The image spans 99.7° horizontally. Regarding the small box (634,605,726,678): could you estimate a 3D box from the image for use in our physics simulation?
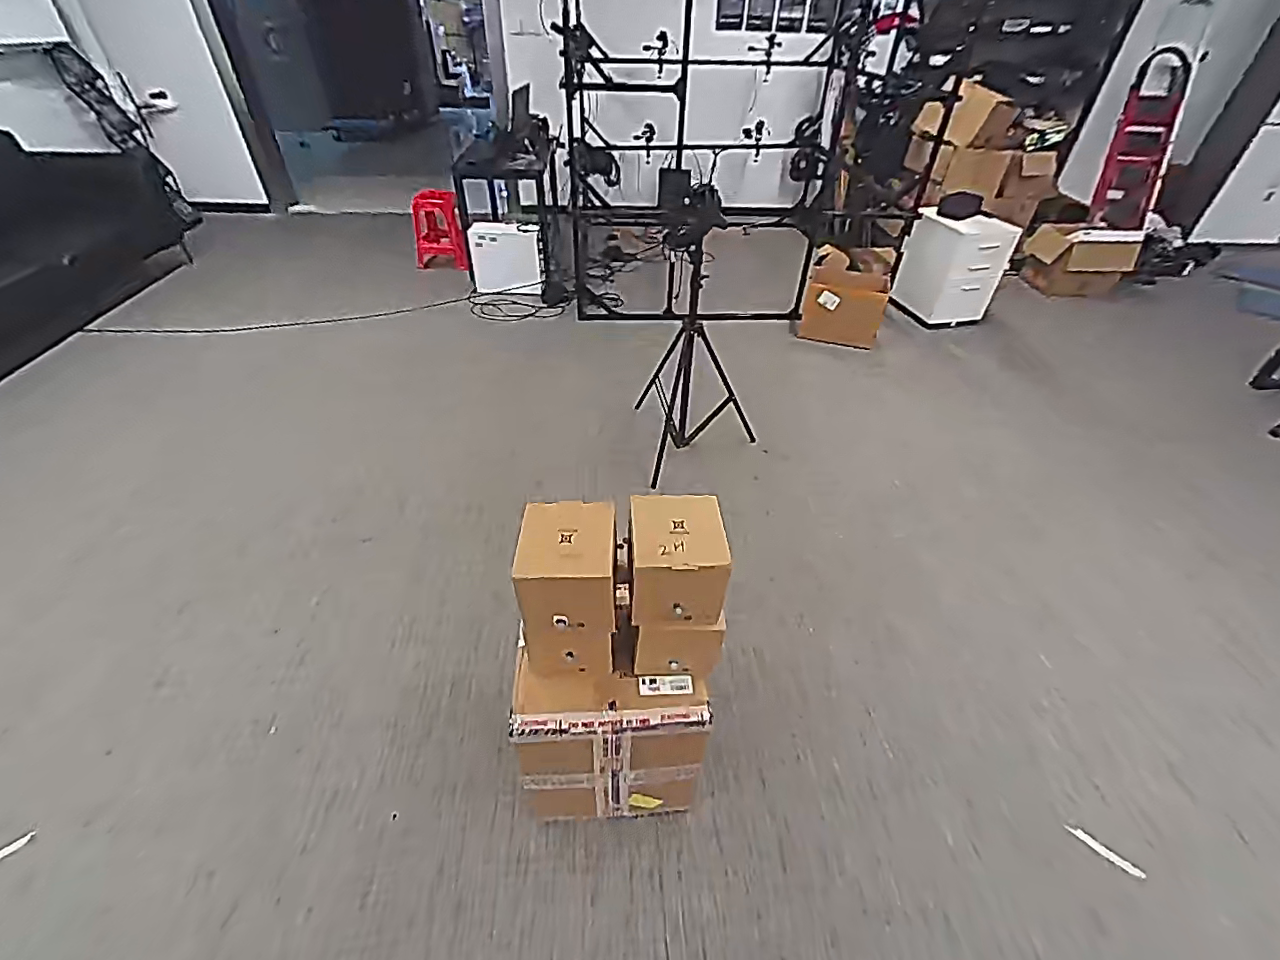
[{"bbox_3d":[0.073,0.284,1.110,0.168,0.176,0.179,1,42,-3],"label":"small box"}]

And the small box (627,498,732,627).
[{"bbox_3d":[0.064,0.153,1.009,0.168,0.176,0.179,-1,42,-5],"label":"small box"}]

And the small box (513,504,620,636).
[{"bbox_3d":[-0.124,0.164,0.988,0.168,0.176,0.179,-2,43,0],"label":"small box"}]

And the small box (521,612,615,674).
[{"bbox_3d":[-0.136,0.281,1.102,0.168,0.176,0.179,0,43,-1],"label":"small box"}]
